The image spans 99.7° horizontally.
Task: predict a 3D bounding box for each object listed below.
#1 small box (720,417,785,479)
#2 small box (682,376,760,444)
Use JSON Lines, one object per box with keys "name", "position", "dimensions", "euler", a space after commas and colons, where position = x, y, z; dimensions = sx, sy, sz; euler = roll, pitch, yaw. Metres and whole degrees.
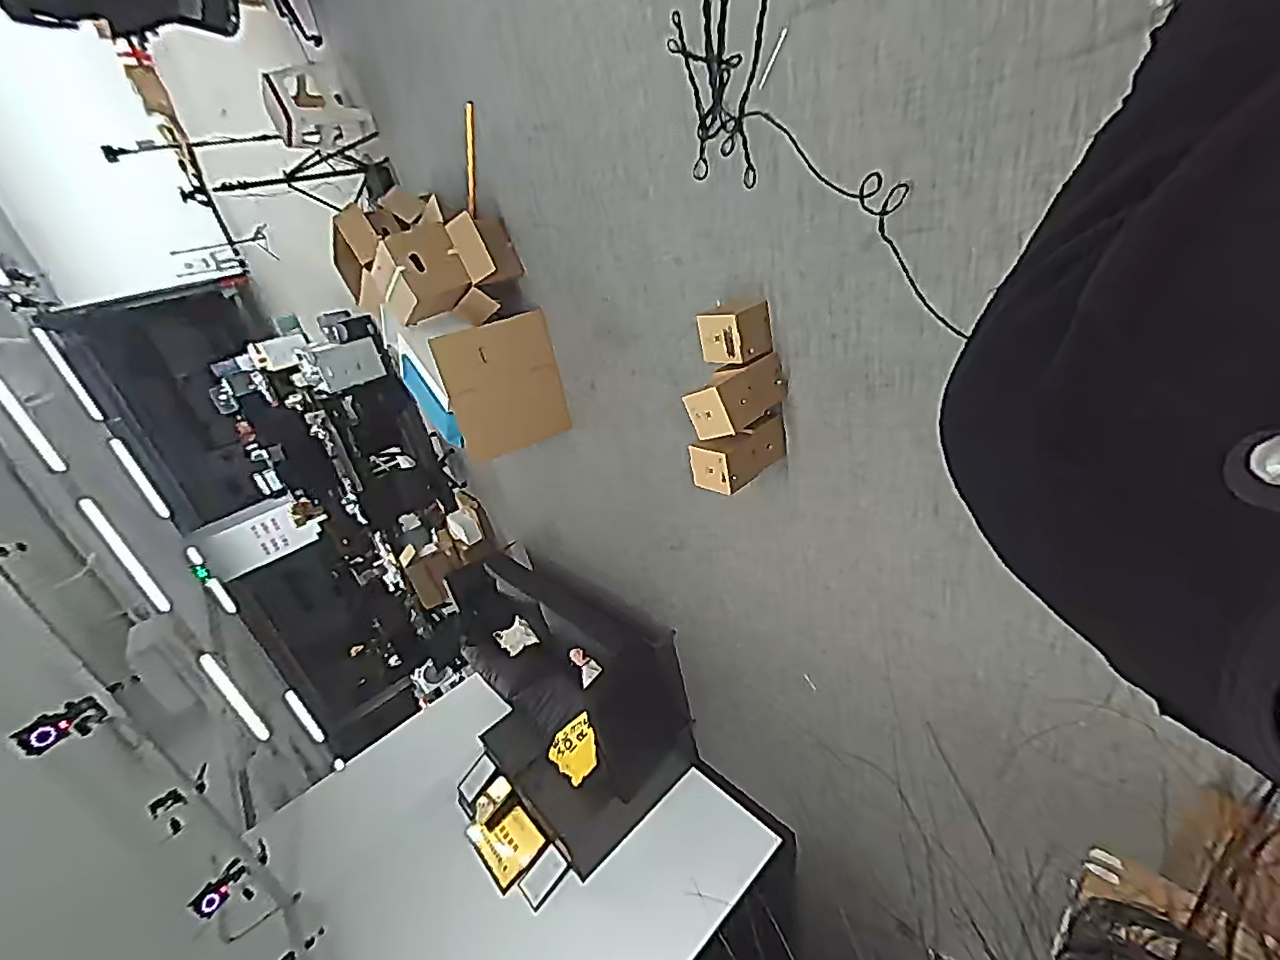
{"name": "small box", "position": [0.420, -0.131, 2.015], "dimensions": [0.168, 0.176, 0.179], "euler": [18, 130, 48]}
{"name": "small box", "position": [0.281, -0.236, 1.815], "dimensions": [0.179, 0.176, 0.168], "euler": [-7, 110, 57]}
